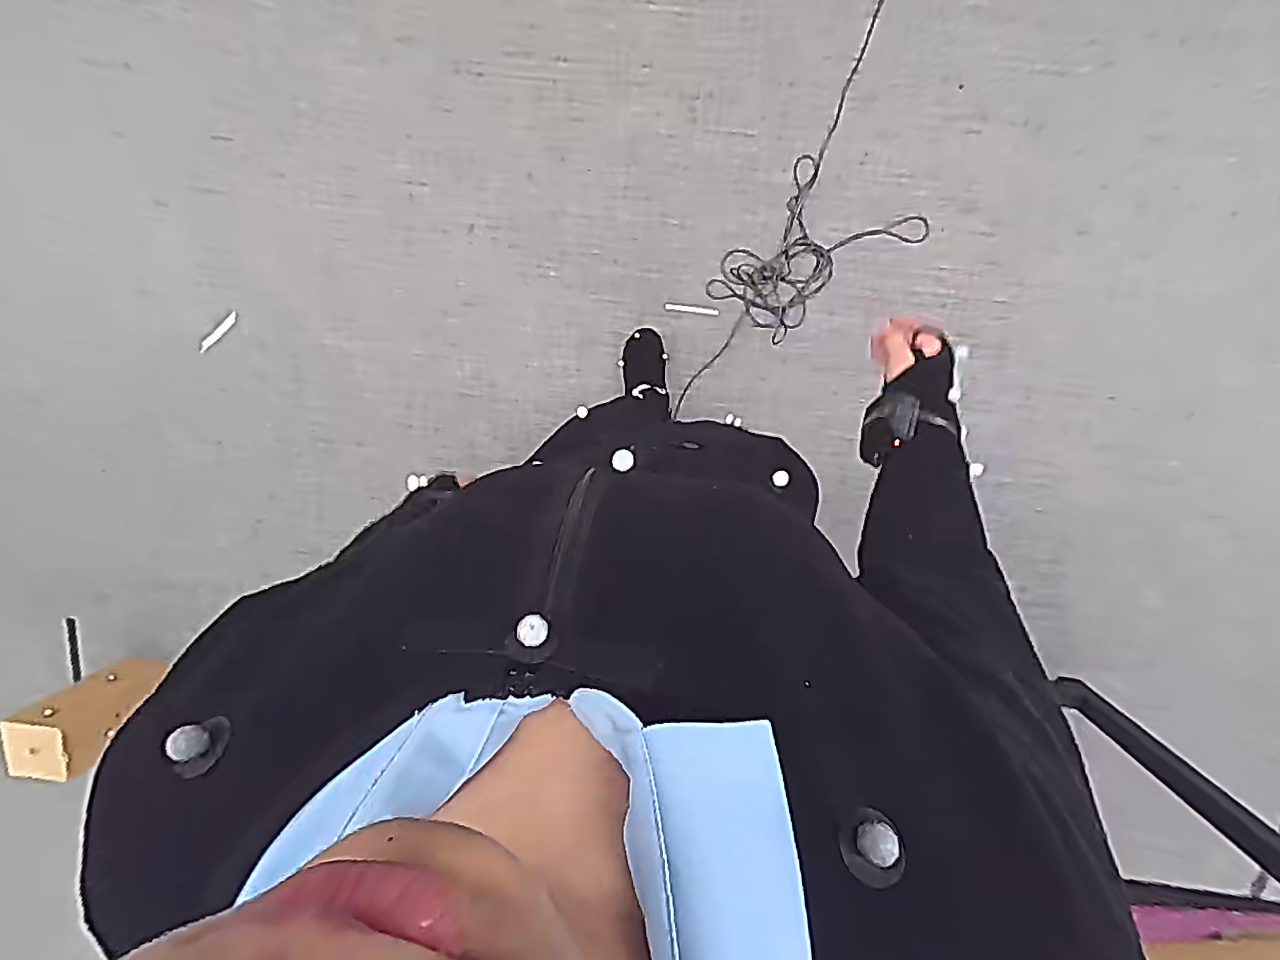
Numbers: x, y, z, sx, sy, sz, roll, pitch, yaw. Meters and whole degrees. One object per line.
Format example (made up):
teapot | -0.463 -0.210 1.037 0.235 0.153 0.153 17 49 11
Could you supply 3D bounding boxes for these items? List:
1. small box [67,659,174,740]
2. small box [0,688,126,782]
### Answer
small box | -1.588 0.672 1.668 0.179 0.176 0.168 3 101 5
small box | -1.602 0.703 1.508 0.179 0.176 0.168 4 101 3
